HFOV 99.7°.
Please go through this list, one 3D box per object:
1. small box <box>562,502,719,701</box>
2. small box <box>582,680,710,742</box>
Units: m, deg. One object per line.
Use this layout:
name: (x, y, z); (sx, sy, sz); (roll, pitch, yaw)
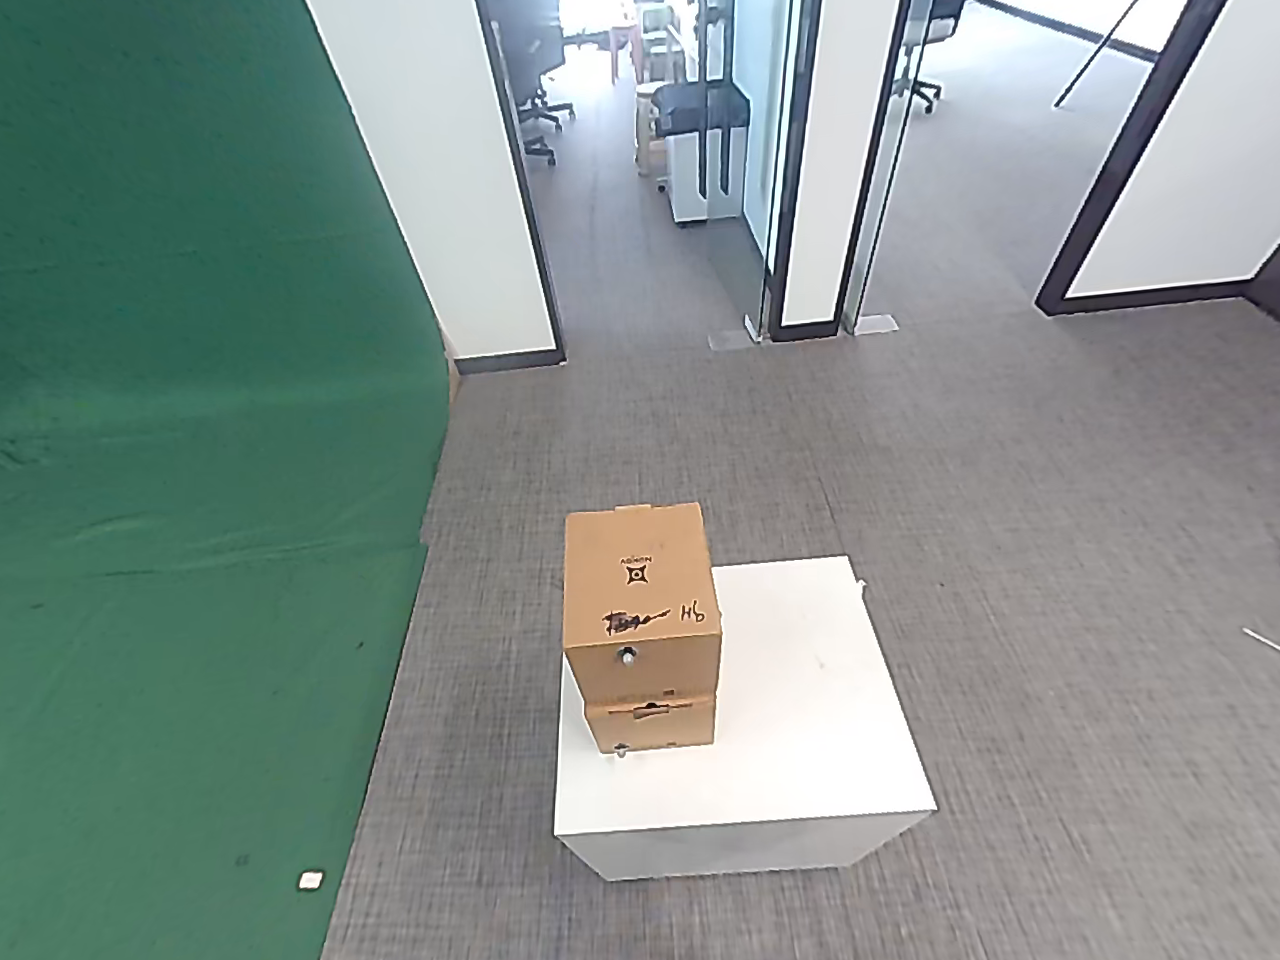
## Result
small box: (0.002, 0.151, 0.671); (0.168, 0.176, 0.179); (-6, 47, 1)
small box: (0.012, 0.268, 0.786); (0.168, 0.176, 0.179); (-5, 48, 1)
